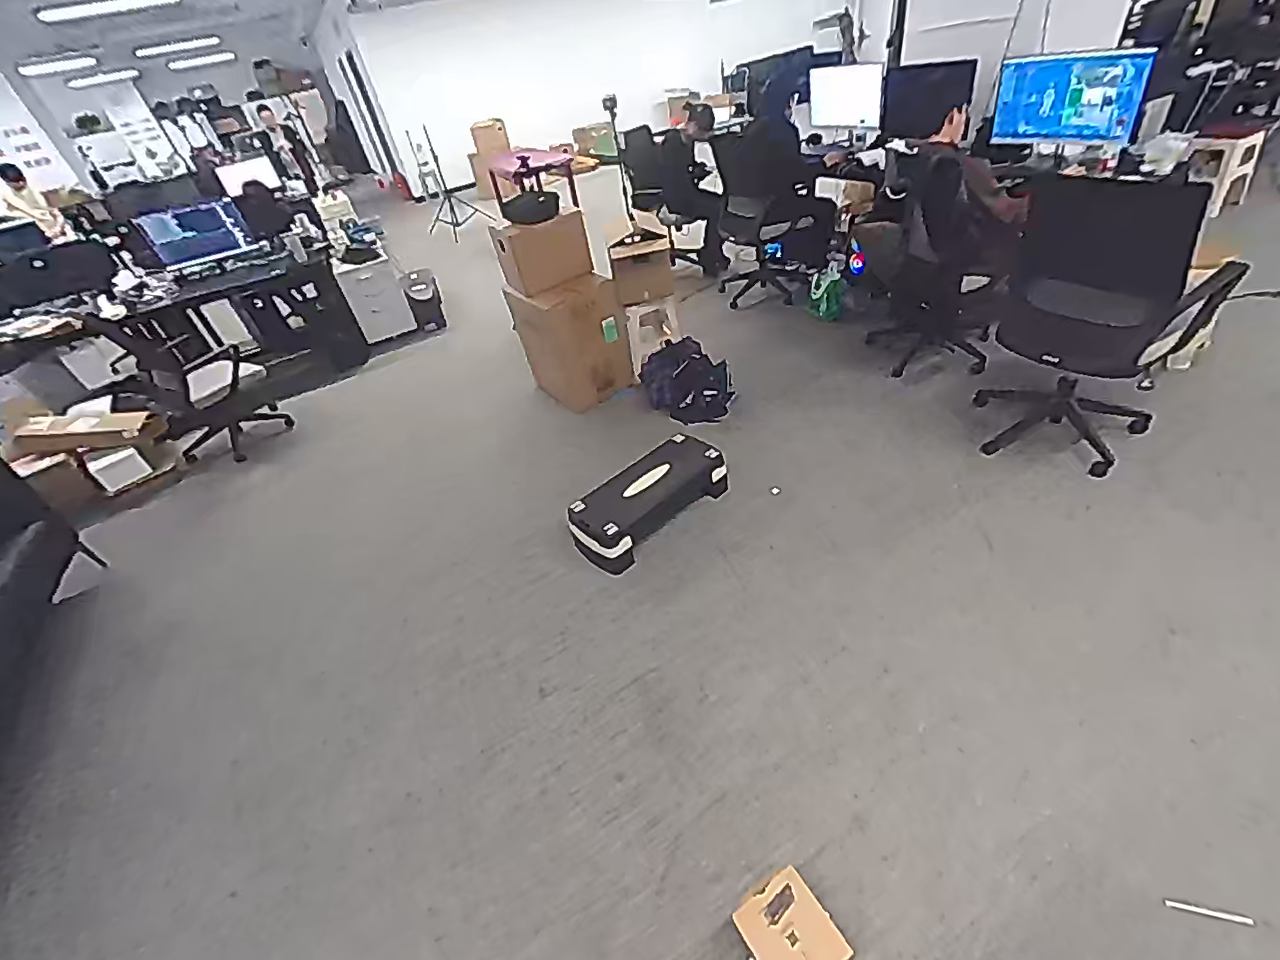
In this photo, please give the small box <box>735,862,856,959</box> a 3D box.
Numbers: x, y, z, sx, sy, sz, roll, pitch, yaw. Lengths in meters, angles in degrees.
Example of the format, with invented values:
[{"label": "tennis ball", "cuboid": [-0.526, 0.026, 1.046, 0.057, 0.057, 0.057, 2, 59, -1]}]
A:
[{"label": "small box", "cuboid": [0.317, 0.949, 1.116, 0.168, 0.176, 0.179, -28, 41, -16]}]
